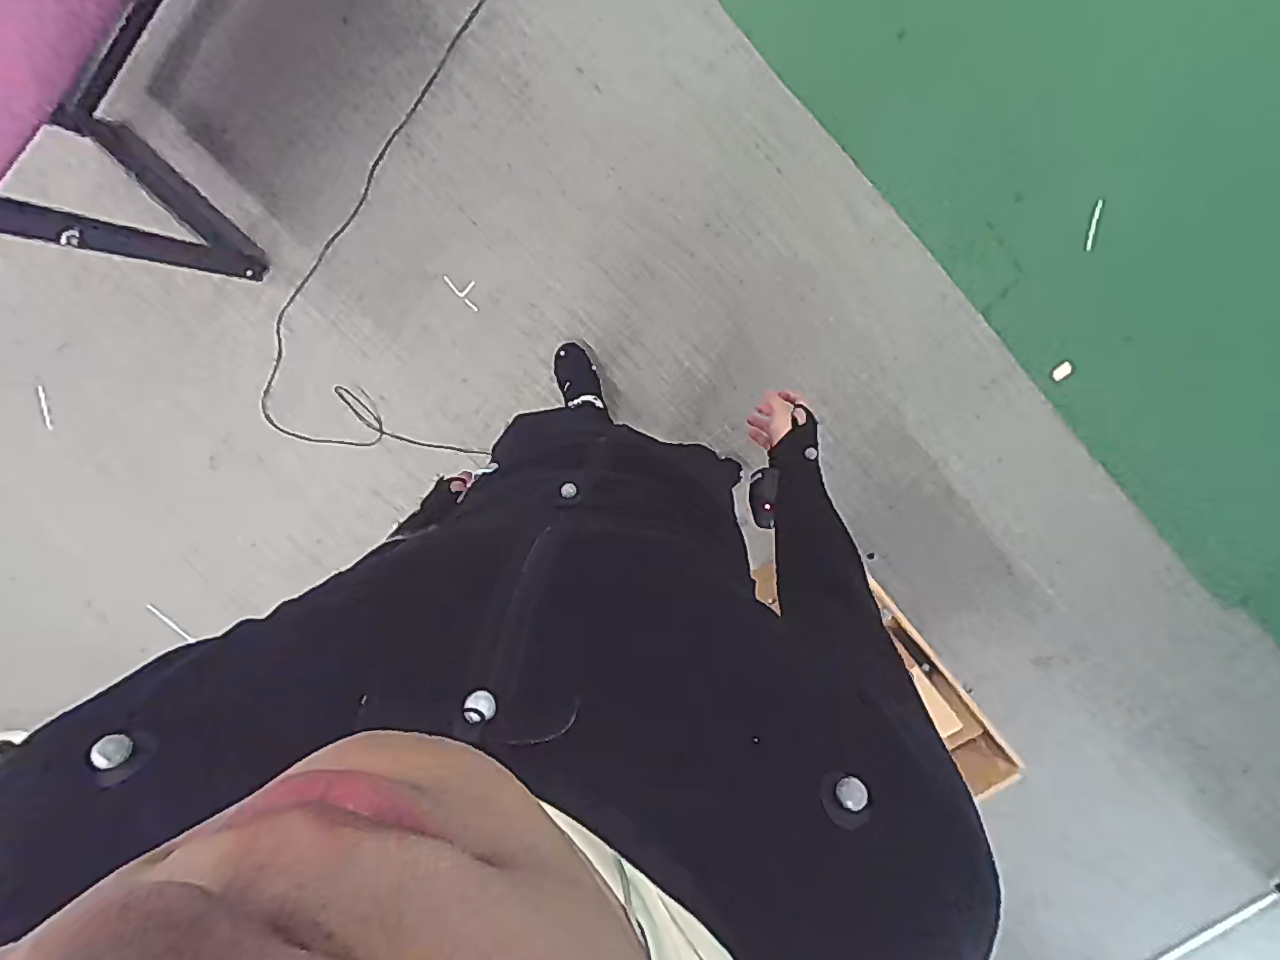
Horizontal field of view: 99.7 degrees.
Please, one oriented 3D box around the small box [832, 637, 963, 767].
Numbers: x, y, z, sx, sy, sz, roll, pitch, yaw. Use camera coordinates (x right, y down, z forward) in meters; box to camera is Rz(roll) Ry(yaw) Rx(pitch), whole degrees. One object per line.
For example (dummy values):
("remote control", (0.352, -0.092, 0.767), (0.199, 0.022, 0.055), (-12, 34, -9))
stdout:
("small box", (0.550, 0.472, 1.184), (0.168, 0.176, 0.179), (-37, 98, 12))
